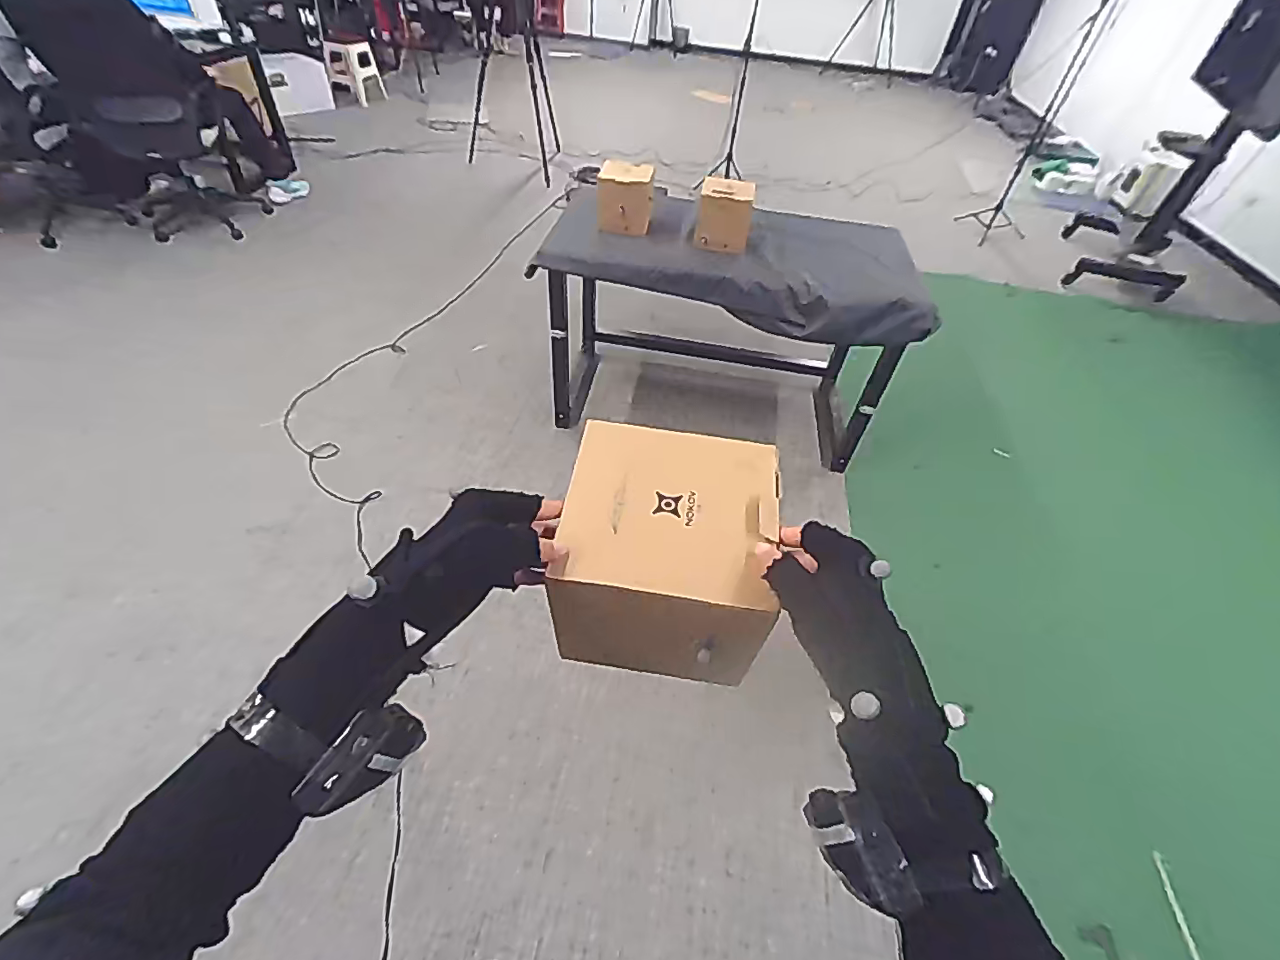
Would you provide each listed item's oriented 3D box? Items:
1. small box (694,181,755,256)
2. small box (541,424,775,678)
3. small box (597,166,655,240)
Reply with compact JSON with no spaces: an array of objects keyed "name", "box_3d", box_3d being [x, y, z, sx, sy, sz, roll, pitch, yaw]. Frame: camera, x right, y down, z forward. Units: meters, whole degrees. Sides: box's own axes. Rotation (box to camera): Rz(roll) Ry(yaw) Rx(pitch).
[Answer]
[{"name":"small box","box_3d":[0.275,-0.854,1.772,0.168,0.176,0.179,11,45,5]},{"name":"small box","box_3d":[0.021,0.072,0.508,0.179,0.176,0.168,6,51,4]},{"name":"small box","box_3d":[-0.047,-0.924,1.808,0.168,0.176,0.179,8,47,2]}]
